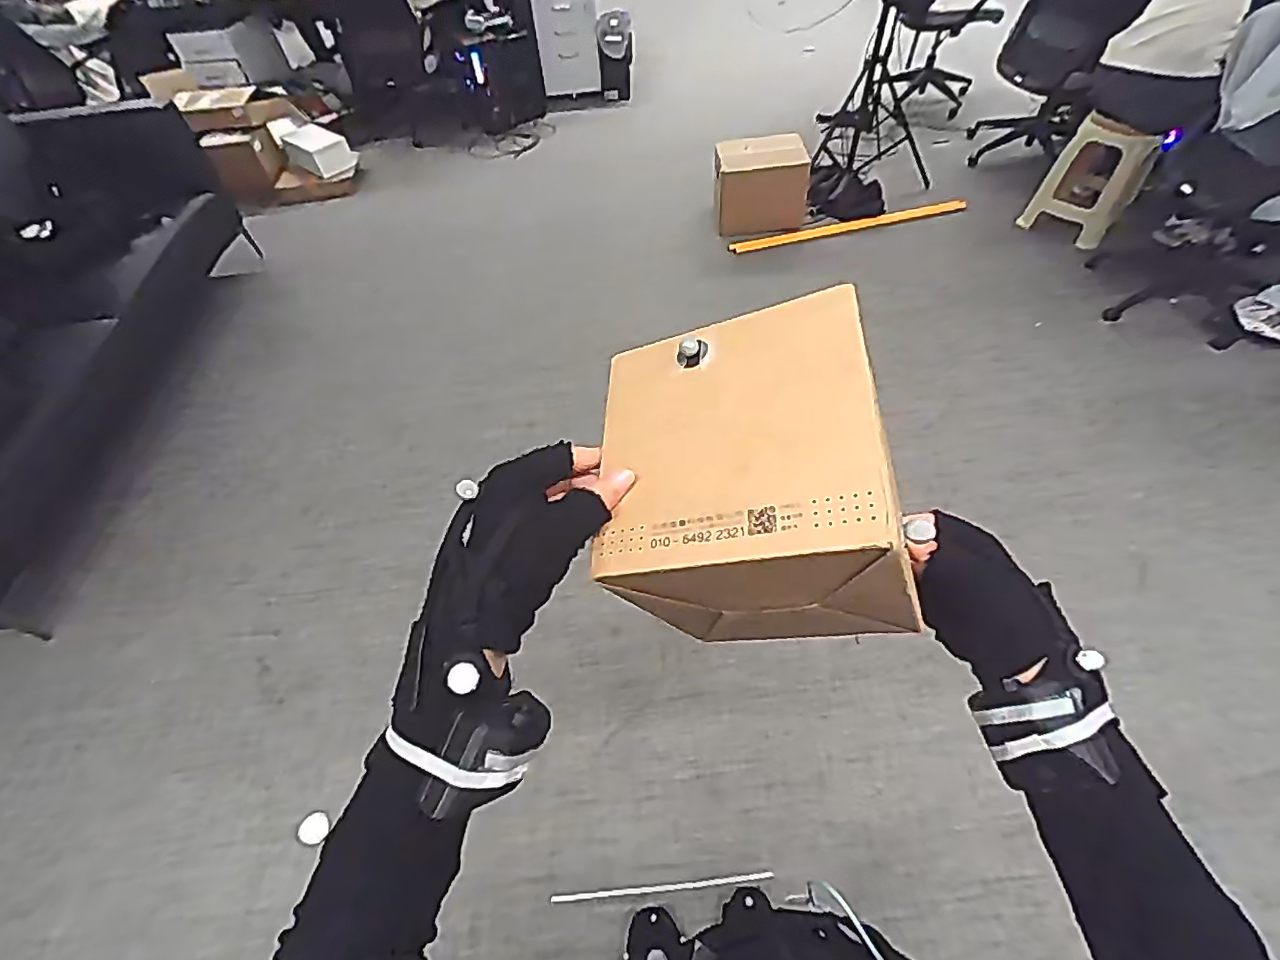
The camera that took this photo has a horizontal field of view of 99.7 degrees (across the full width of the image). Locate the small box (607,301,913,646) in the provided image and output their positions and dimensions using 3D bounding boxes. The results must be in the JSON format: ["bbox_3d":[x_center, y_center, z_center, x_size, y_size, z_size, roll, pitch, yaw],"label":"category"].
[{"bbox_3d":[0.087,0.015,0.386,0.168,0.179,0.176,-12,57,25],"label":"small box"}]
